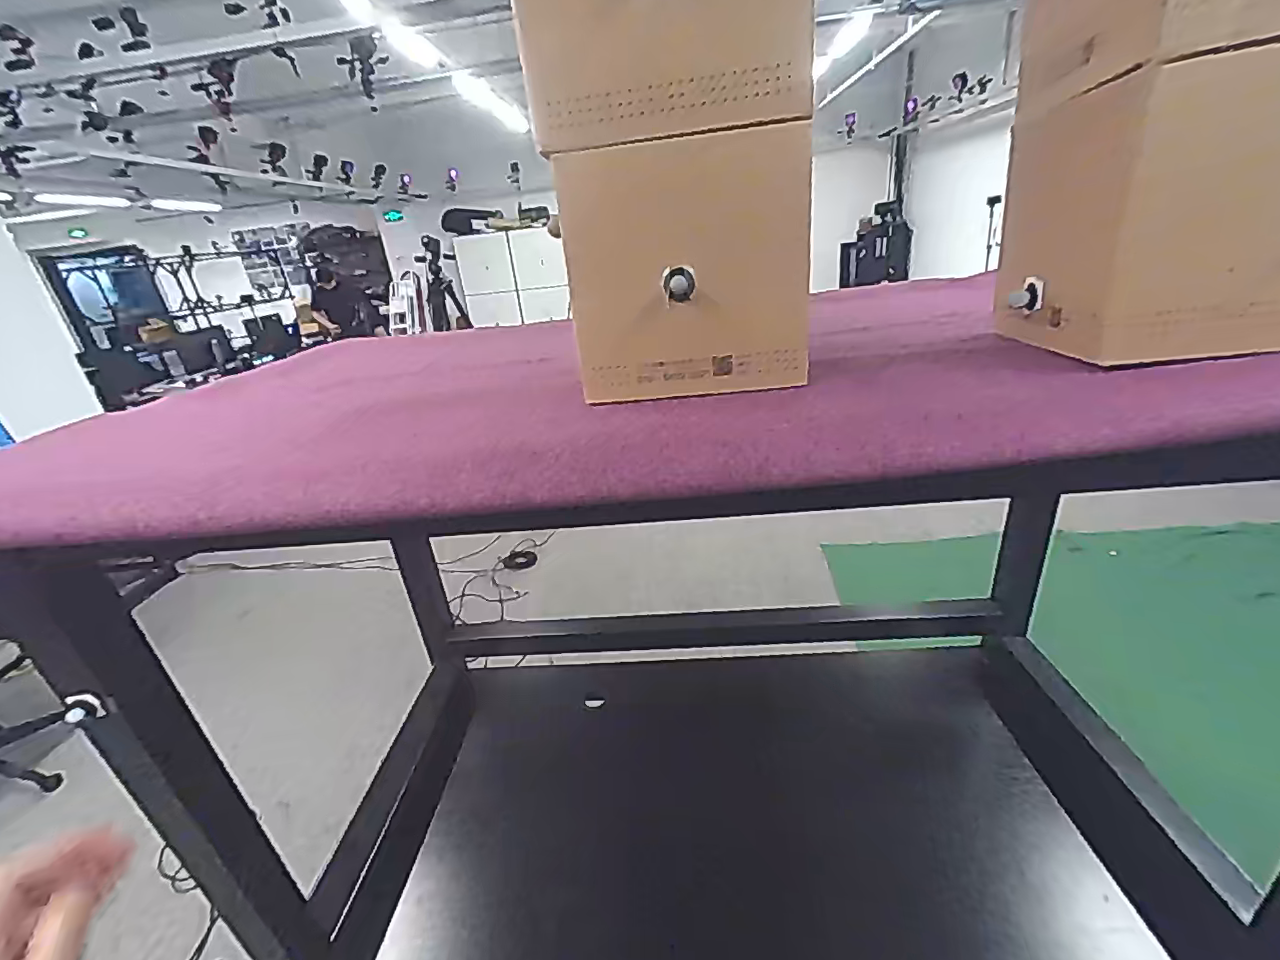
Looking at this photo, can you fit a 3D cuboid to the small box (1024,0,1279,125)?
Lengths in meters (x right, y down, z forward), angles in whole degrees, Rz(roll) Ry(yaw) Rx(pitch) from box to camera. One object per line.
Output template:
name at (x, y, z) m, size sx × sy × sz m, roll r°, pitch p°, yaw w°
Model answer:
small box at (0.364, -0.331, 0.328) m, size 0.179 × 0.176 × 0.168 m, roll -2°, pitch 22°, yaw 13°

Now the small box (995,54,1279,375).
small box at (0.385, -0.178, 0.382) m, size 0.179 × 0.176 × 0.168 m, roll -4°, pitch 21°, yaw 11°

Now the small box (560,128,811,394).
small box at (0.042, -0.171, 0.451) m, size 0.168 × 0.176 × 0.179 m, roll -3°, pitch 24°, yaw 5°
